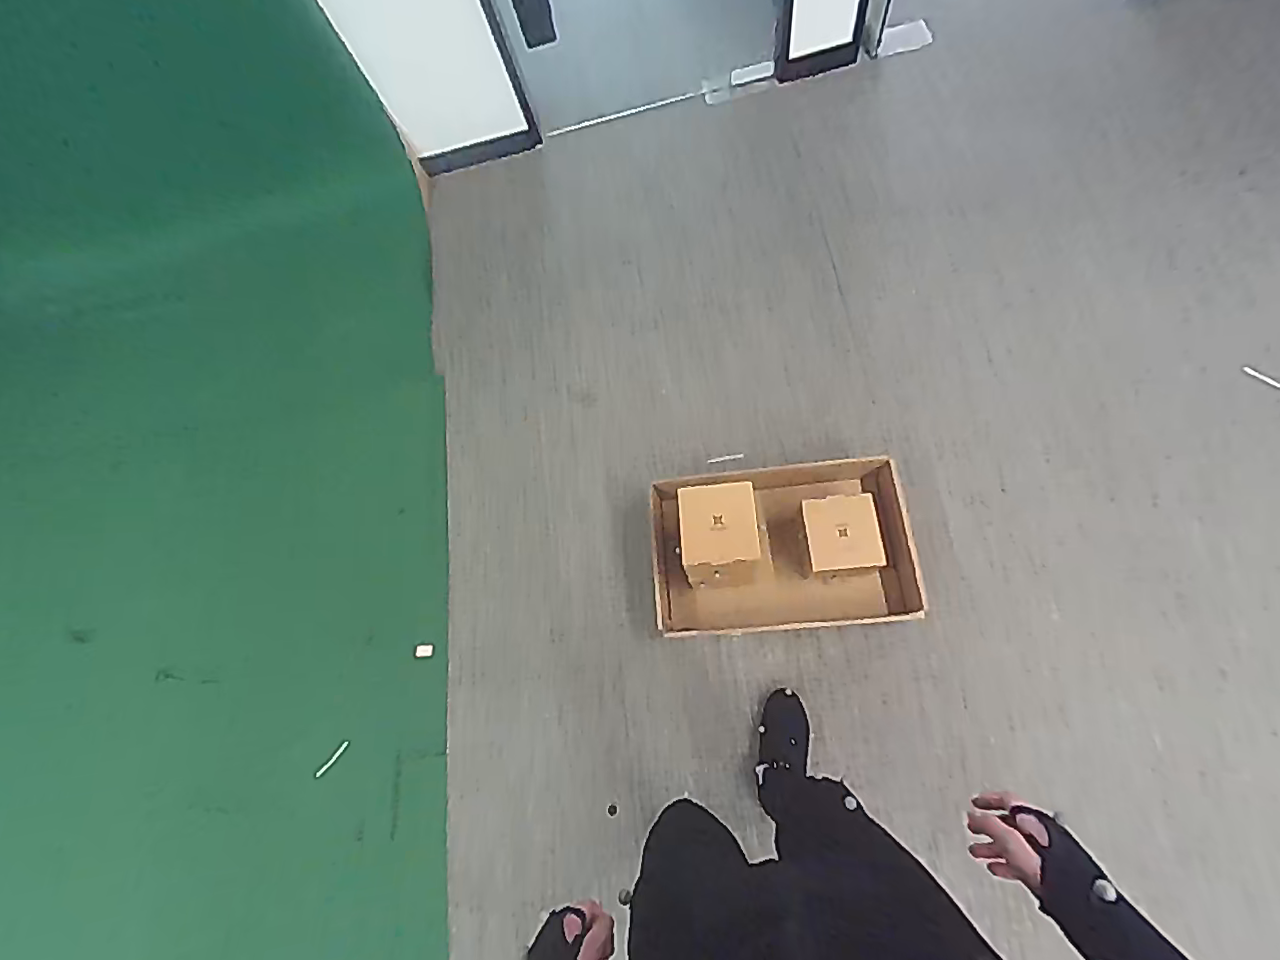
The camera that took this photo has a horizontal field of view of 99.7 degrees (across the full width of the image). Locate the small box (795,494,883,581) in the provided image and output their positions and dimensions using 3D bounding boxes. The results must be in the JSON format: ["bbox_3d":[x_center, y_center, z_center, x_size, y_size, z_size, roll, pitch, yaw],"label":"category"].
[{"bbox_3d":[0.484,0.147,1.342,0.168,0.176,0.179,-6,71,9],"label":"small box"}]

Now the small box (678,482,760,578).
[{"bbox_3d":[0.176,0.118,1.230,0.168,0.176,0.179,-5,70,7],"label":"small box"}]
